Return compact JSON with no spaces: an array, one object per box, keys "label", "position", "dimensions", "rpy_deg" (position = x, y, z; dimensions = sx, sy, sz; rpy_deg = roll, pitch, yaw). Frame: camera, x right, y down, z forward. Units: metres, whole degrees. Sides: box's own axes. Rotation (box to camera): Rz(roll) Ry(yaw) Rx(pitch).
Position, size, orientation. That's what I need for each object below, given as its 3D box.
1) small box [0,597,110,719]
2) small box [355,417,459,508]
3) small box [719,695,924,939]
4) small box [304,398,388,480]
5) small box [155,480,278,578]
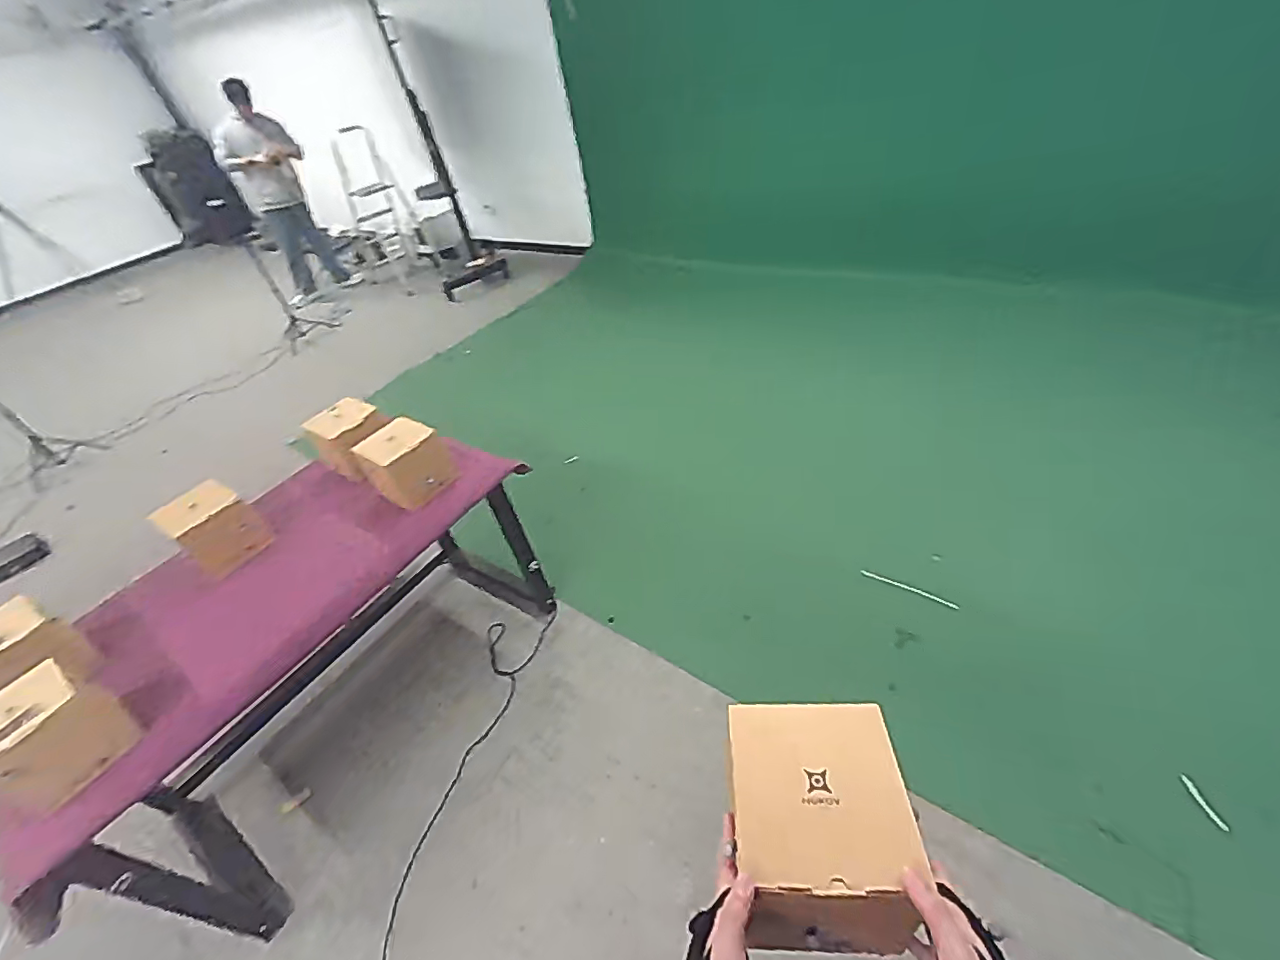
[{"label":"small box","position":[-1.340,0.396,1.193],"dimensions":[0.179,0.176,0.168],"rpy_deg":[17,48,30]},{"label":"small box","position":[-0.644,-0.047,1.506],"dimensions":[0.179,0.176,0.168],"rpy_deg":[21,53,33]},{"label":"small box","position":[0.172,0.357,0.581],"dimensions":[0.168,0.176,0.179],"rpy_deg":[-3,38,5]},{"label":"small box","position":[-0.870,-0.123,1.655],"dimensions":[0.179,0.176,0.168],"rpy_deg":[20,51,31]},{"label":"small box","position":[-1.111,0.133,1.433],"dimensions":[0.179,0.176,0.168],"rpy_deg":[18,49,31]}]
